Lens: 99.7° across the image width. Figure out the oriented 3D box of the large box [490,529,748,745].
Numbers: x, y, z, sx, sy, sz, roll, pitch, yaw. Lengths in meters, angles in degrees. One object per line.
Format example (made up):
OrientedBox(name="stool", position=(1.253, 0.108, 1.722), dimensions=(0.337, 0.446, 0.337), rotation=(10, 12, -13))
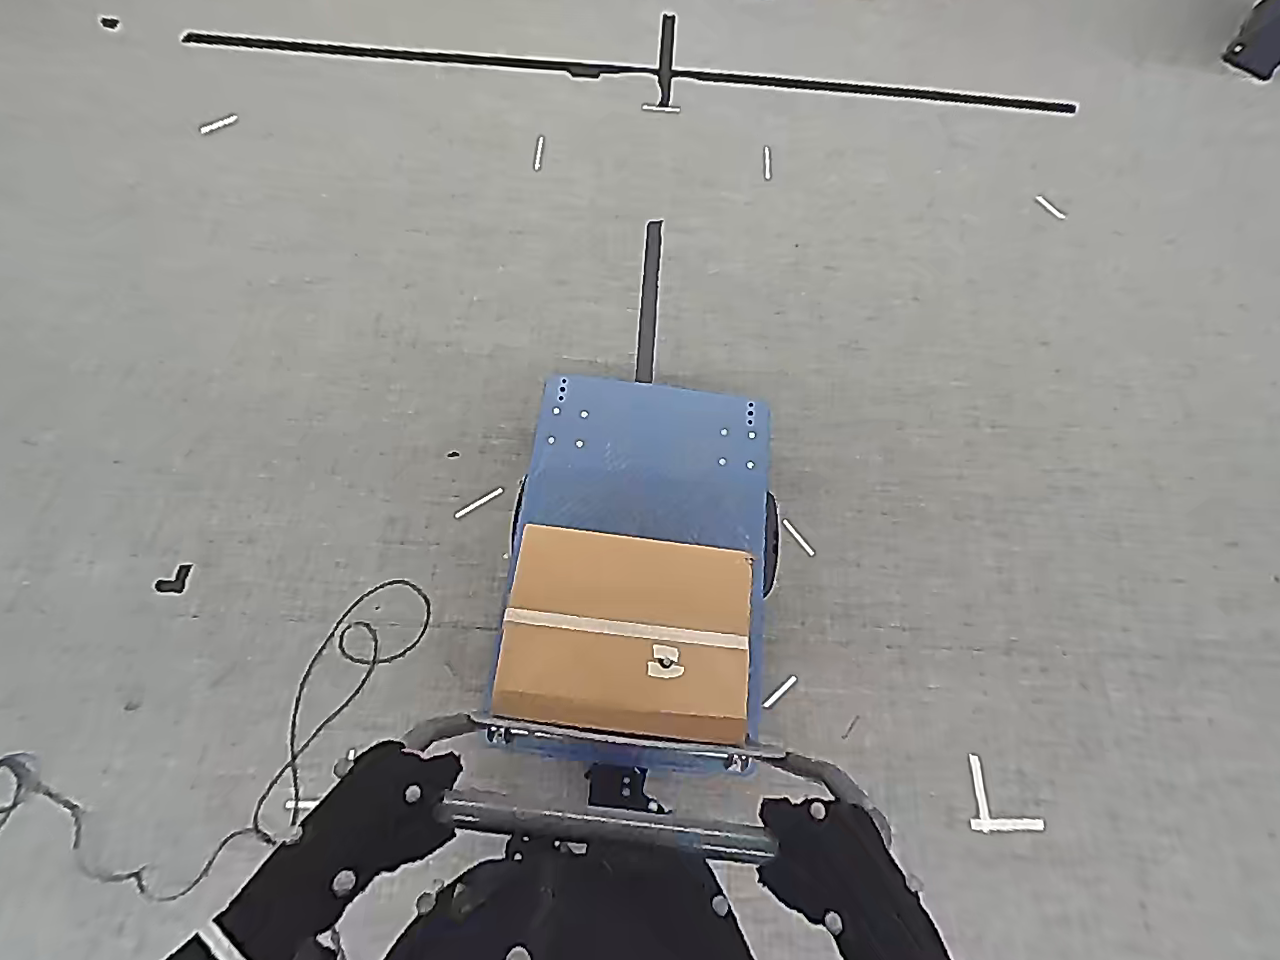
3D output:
OrientedBox(name="large box", position=(-0.034, 0.302, 1.029), dimensions=(0.408, 0.320, 0.320), rotation=(8, 70, -2))
